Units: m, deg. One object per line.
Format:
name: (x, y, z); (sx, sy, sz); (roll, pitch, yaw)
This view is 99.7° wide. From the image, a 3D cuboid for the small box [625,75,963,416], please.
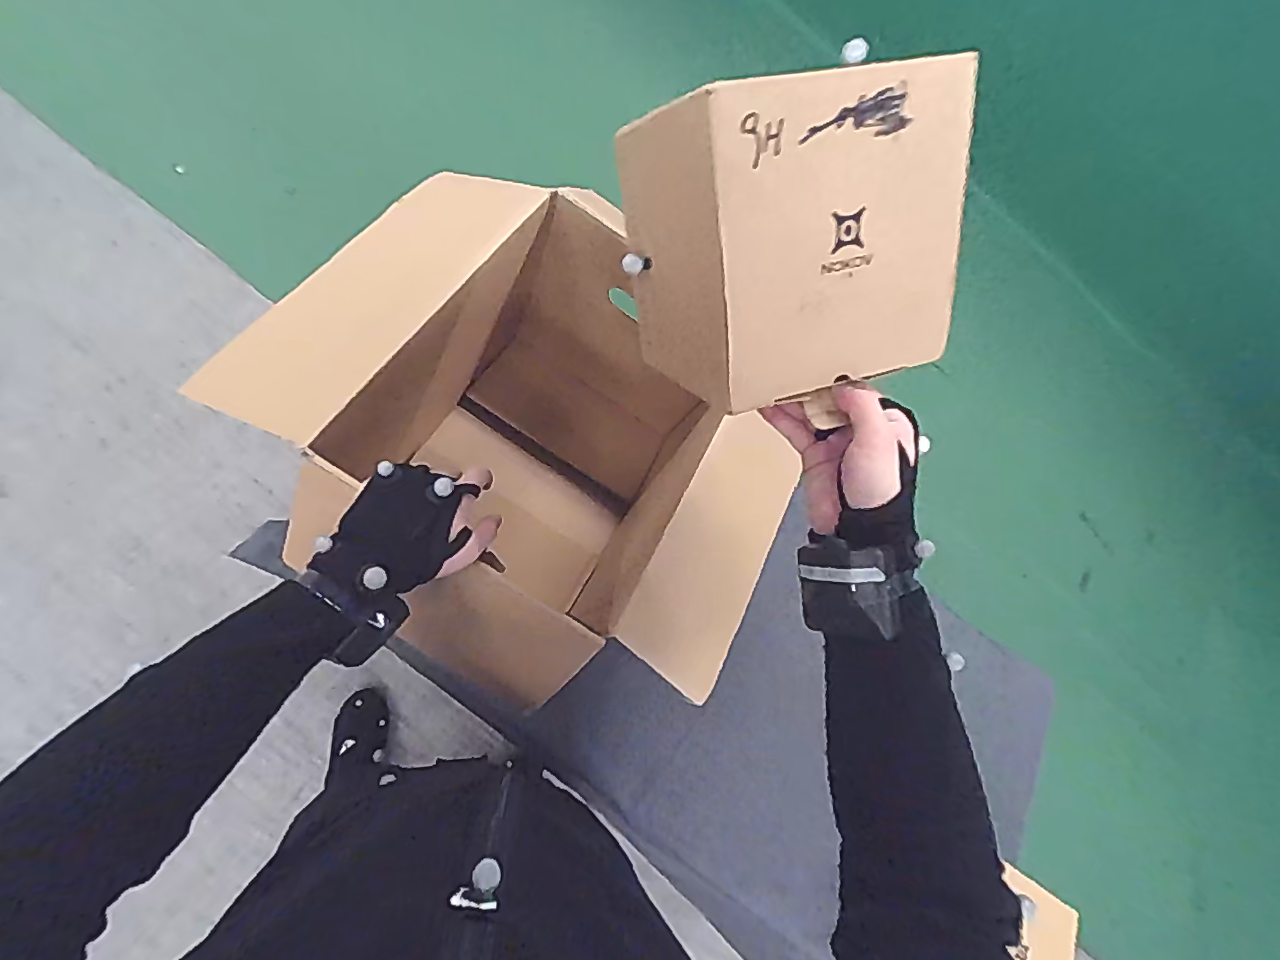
small box: (0.099, -0.171, 0.406); (0.168, 0.176, 0.179); (-17, 118, -13)
